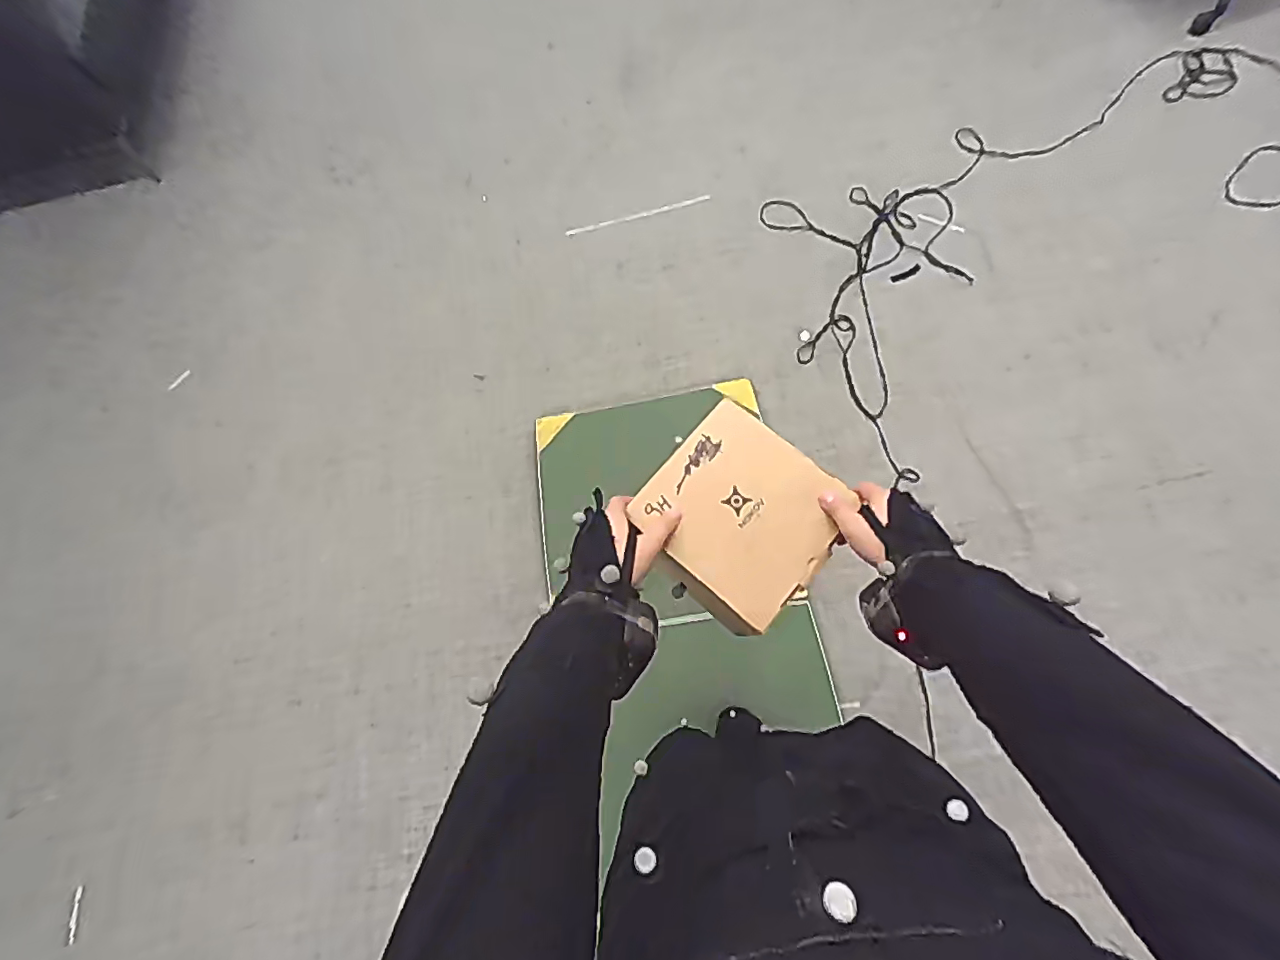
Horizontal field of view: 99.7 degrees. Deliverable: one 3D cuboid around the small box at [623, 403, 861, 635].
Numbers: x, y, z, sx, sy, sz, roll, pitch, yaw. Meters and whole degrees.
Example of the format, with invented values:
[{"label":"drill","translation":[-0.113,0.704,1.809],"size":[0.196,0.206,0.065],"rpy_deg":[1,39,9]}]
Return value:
[{"label":"small box","translation":[0.102,0.052,0.604],"size":[0.179,0.176,0.168],"rpy_deg":[40,78,12]}]
